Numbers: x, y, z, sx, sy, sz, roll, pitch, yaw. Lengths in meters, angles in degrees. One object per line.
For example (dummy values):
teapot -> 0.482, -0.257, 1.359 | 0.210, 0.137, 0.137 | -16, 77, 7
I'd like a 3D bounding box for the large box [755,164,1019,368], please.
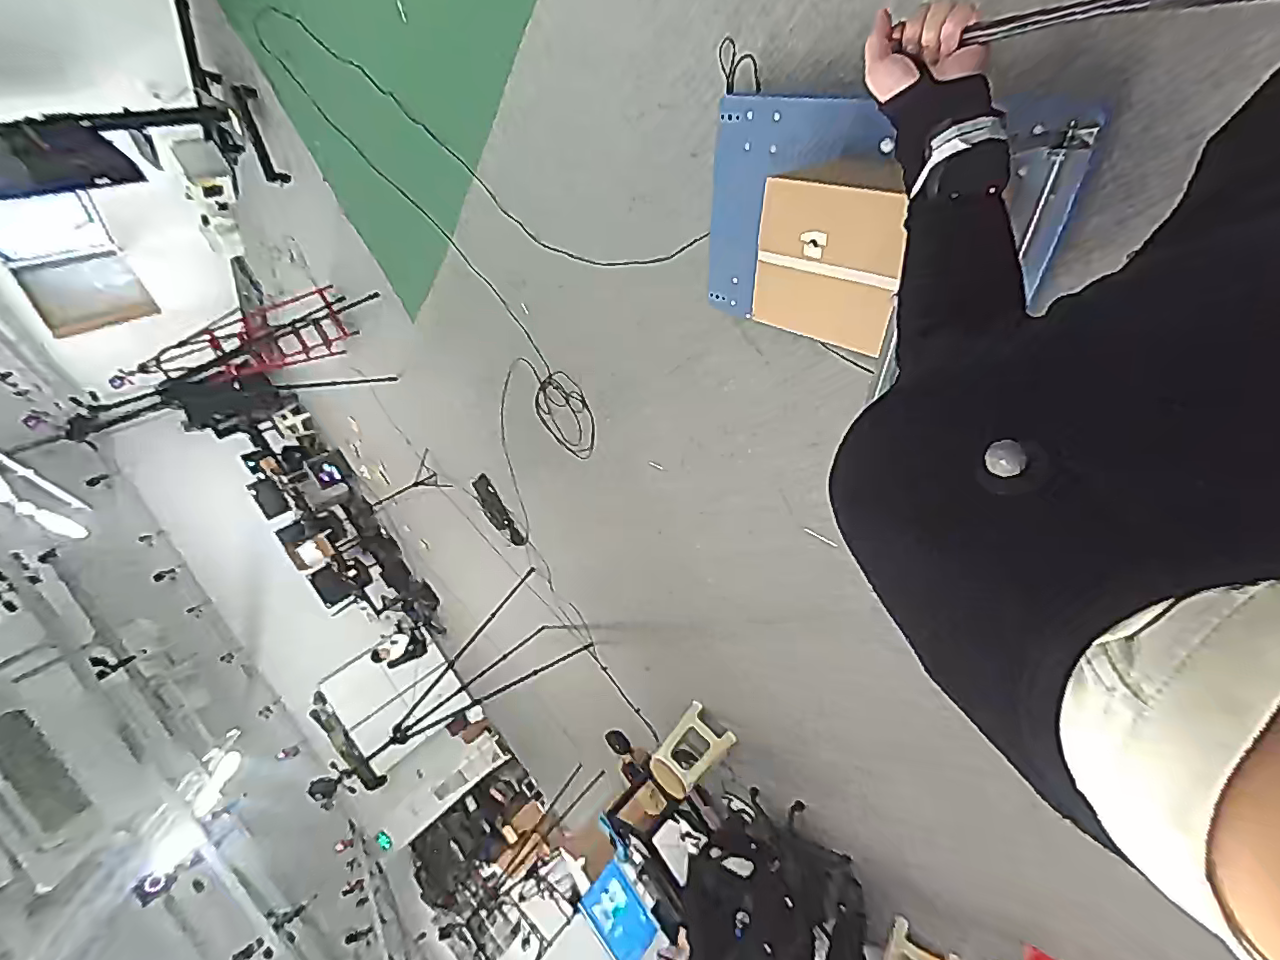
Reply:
large box -> 0.521, -0.492, 1.196 | 0.408, 0.320, 0.320 | 31, 137, 34
